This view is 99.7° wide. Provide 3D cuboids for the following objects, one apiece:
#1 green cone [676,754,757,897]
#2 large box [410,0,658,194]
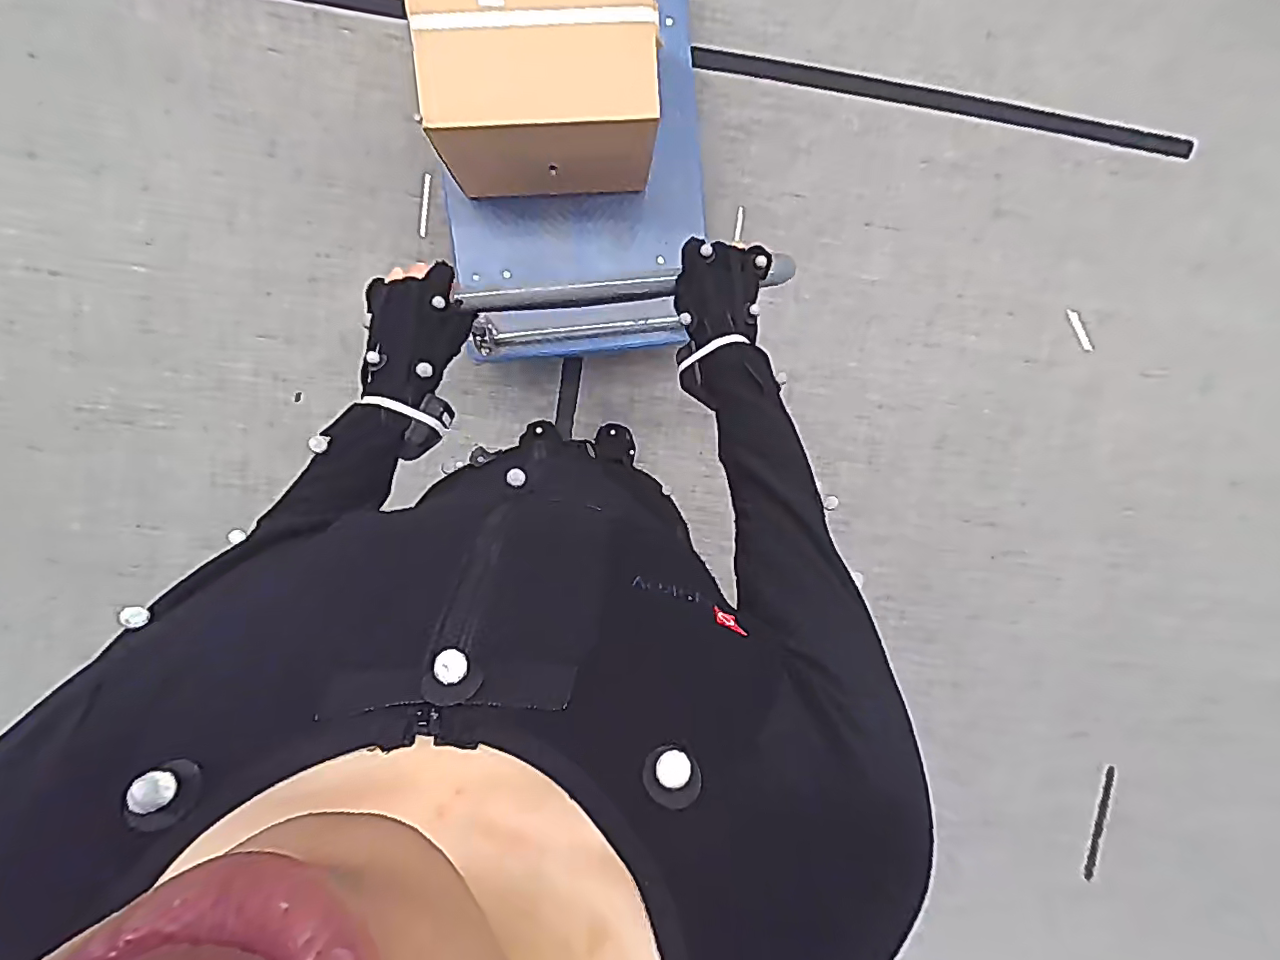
[{"bbox_3d":[0.232,0.937,1.439,0.202,0.368,0.200,11,96,-6],"label":"green cone"},{"bbox_3d":[-0.185,-0.783,1.054,0.408,0.320,0.320,-5,98,-2],"label":"large box"}]
